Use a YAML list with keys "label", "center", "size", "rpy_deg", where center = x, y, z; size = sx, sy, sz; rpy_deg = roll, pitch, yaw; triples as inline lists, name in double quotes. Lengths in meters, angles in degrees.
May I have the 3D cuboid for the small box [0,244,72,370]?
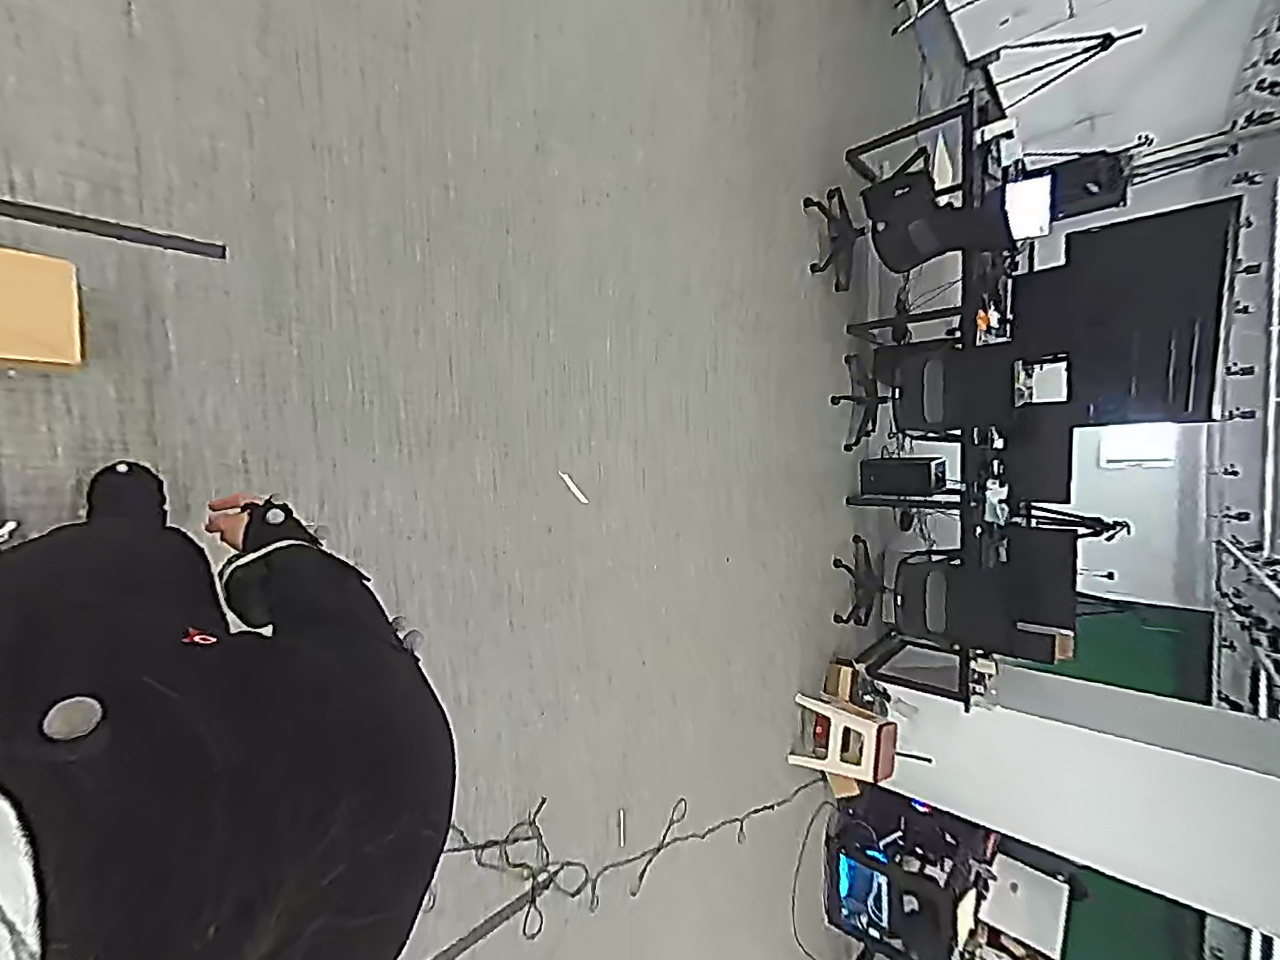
- label: "small box"
  center: [-1.024, -0.271, 0.849]
  size: [0.179, 0.176, 0.168]
  rpy_deg: [-3, 93, -49]
